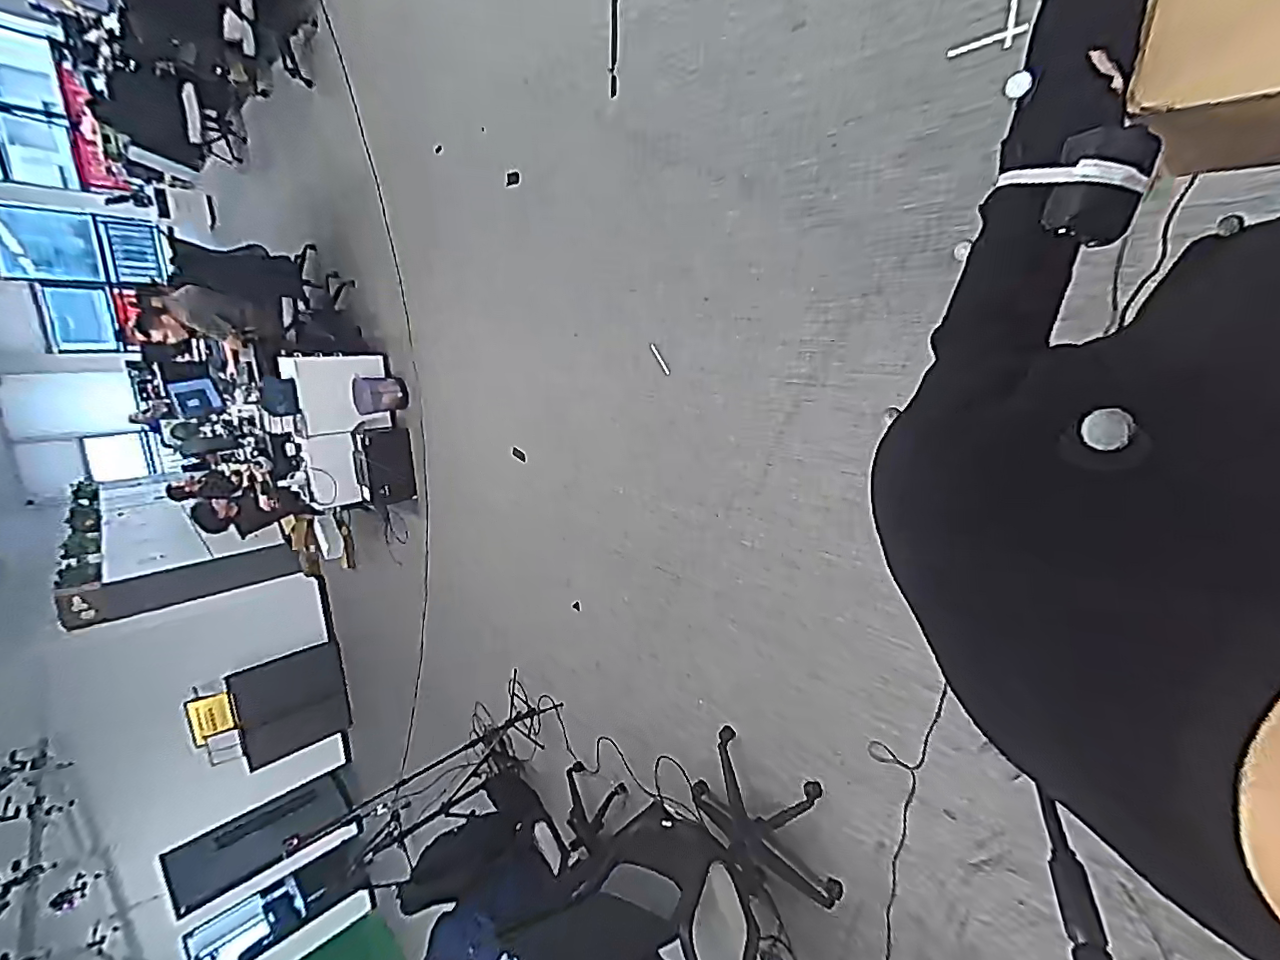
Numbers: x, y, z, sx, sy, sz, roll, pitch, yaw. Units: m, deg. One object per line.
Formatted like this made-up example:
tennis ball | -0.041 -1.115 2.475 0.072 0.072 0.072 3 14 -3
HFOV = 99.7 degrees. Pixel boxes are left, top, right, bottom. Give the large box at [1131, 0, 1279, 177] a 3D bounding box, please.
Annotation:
large box | 0.582 -0.387 0.294 0.408 0.320 0.320 18 117 43
